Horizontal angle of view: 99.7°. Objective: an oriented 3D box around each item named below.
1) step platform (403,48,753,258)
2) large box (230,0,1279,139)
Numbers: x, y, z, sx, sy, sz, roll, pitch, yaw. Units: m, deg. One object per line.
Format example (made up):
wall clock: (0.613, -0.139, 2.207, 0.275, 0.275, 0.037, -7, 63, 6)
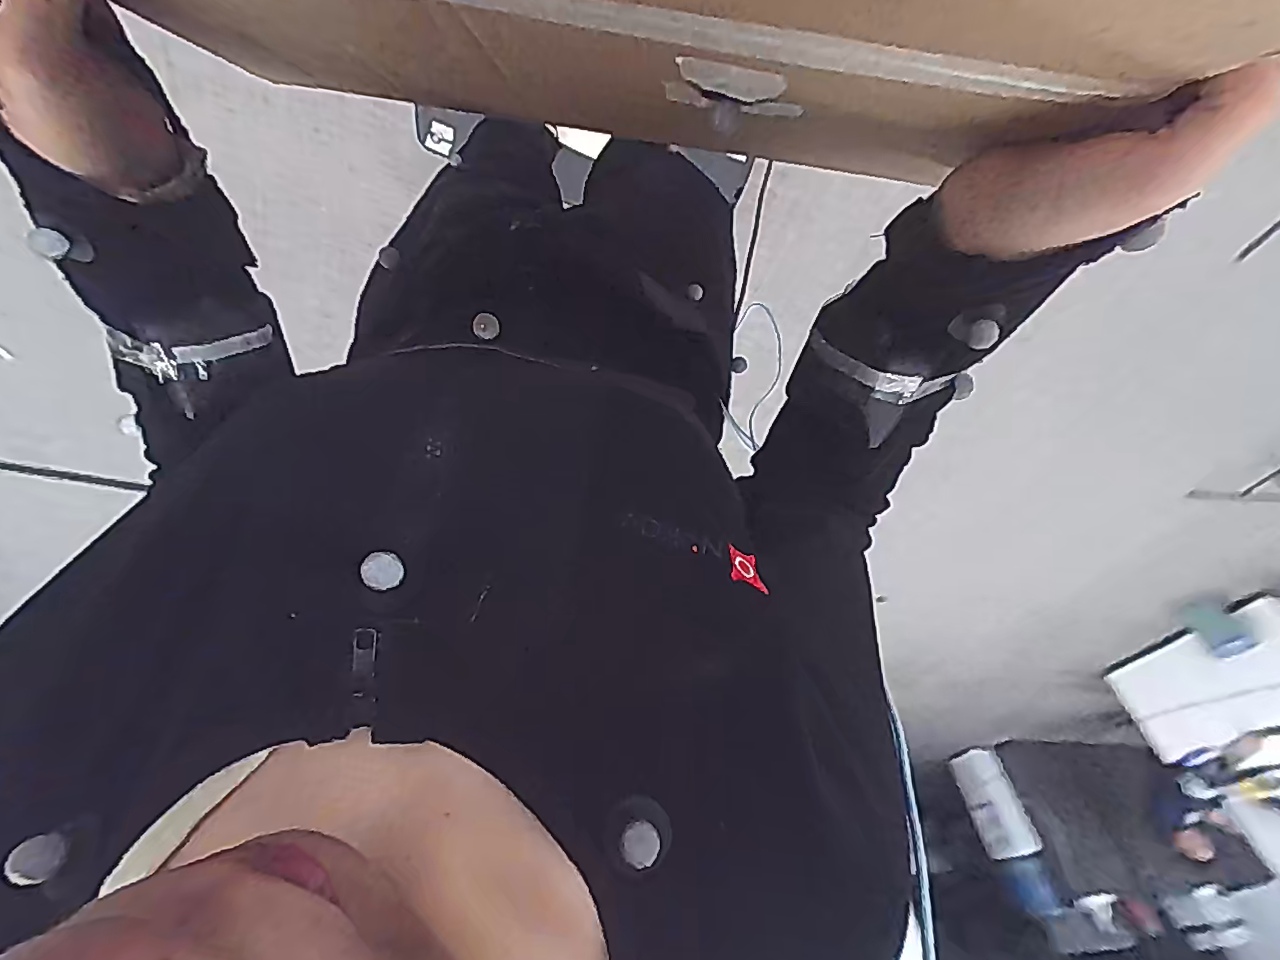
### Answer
step platform: (-0.110, -0.735, 1.110, 0.684, 0.204, 0.286, 17, 130, -21)
large box: (0.009, -0.306, 0.098, 0.408, 0.320, 0.320, 10, 110, 1)
